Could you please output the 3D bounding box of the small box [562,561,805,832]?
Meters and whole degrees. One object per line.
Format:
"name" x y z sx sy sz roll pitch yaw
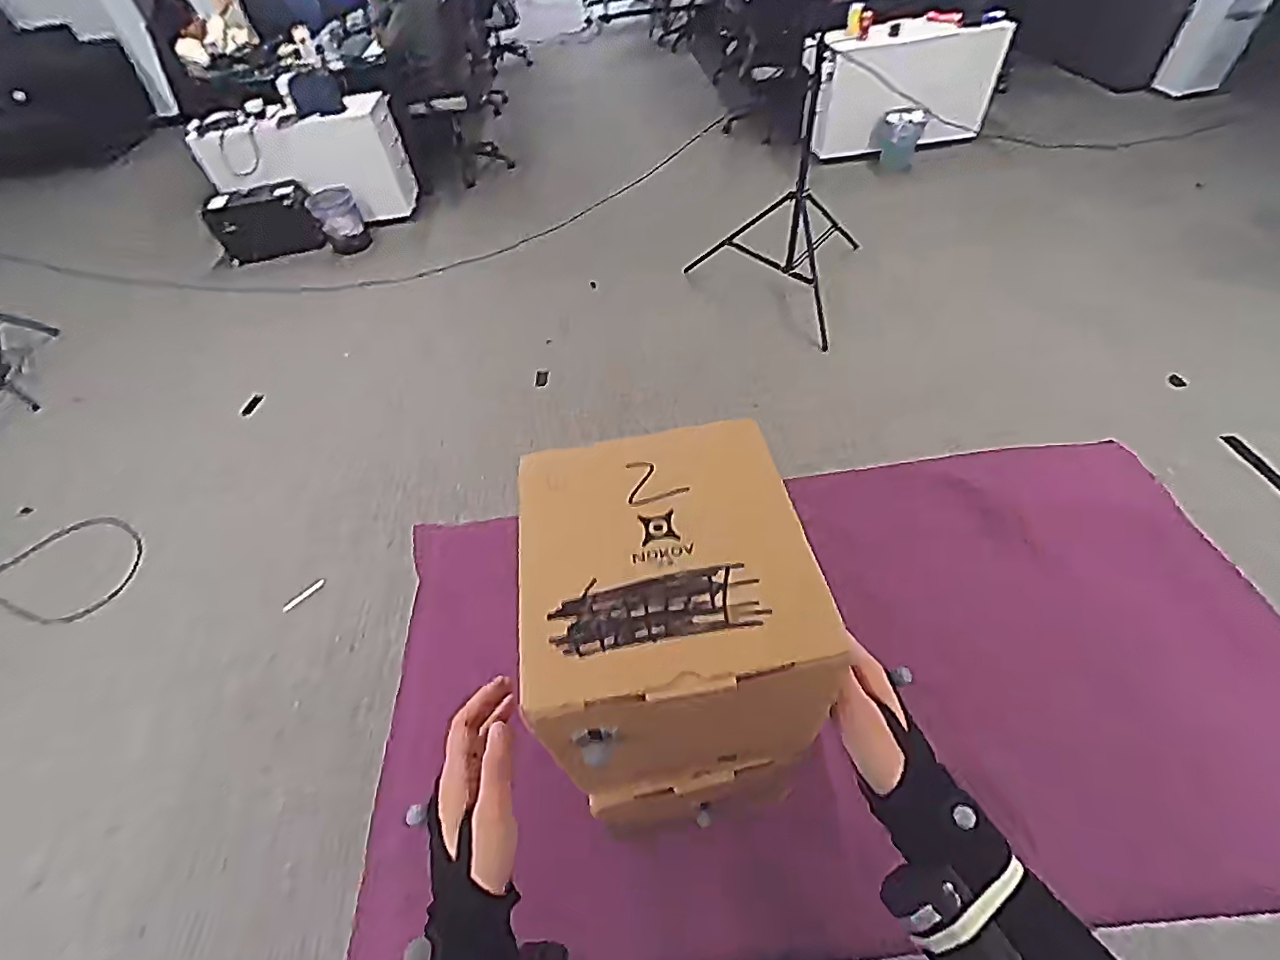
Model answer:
"small box" 0.033 0.205 0.498 0.168 0.176 0.179 -13 51 -4
